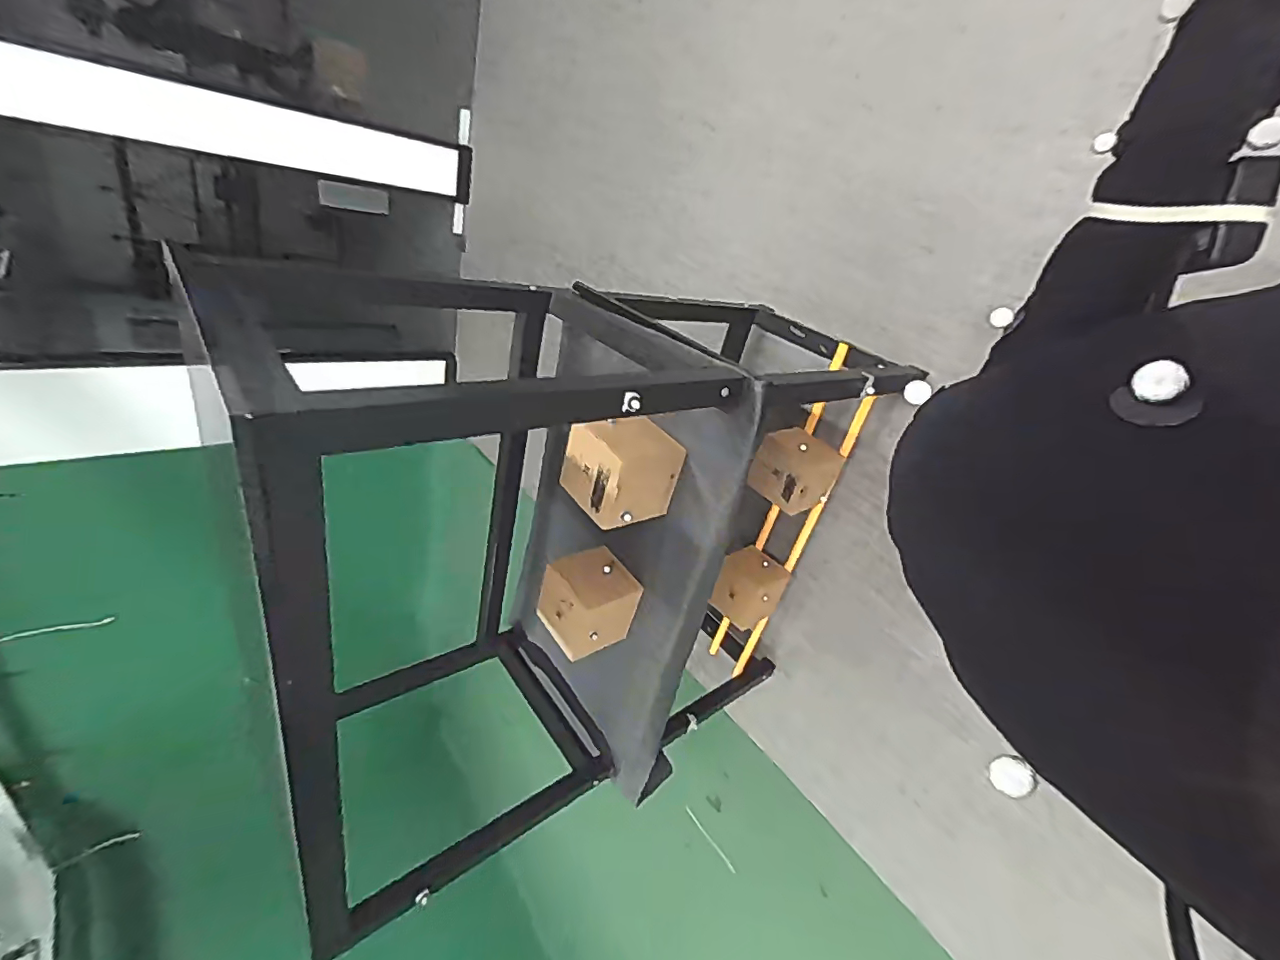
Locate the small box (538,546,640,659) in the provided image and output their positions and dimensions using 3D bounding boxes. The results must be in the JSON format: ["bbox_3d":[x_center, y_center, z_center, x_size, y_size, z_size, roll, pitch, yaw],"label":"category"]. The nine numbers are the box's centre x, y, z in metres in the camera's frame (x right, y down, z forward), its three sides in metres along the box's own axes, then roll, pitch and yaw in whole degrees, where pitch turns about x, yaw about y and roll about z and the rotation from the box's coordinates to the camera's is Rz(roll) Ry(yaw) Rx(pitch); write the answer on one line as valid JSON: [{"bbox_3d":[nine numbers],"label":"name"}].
[{"bbox_3d":[-0.122,0.286,1.292,0.168,0.176,0.179,42,129,34],"label":"small box"}]

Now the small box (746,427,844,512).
[{"bbox_3d":[0.438,-0.038,1.524,0.179,0.176,0.168,42,129,34],"label":"small box"}]
